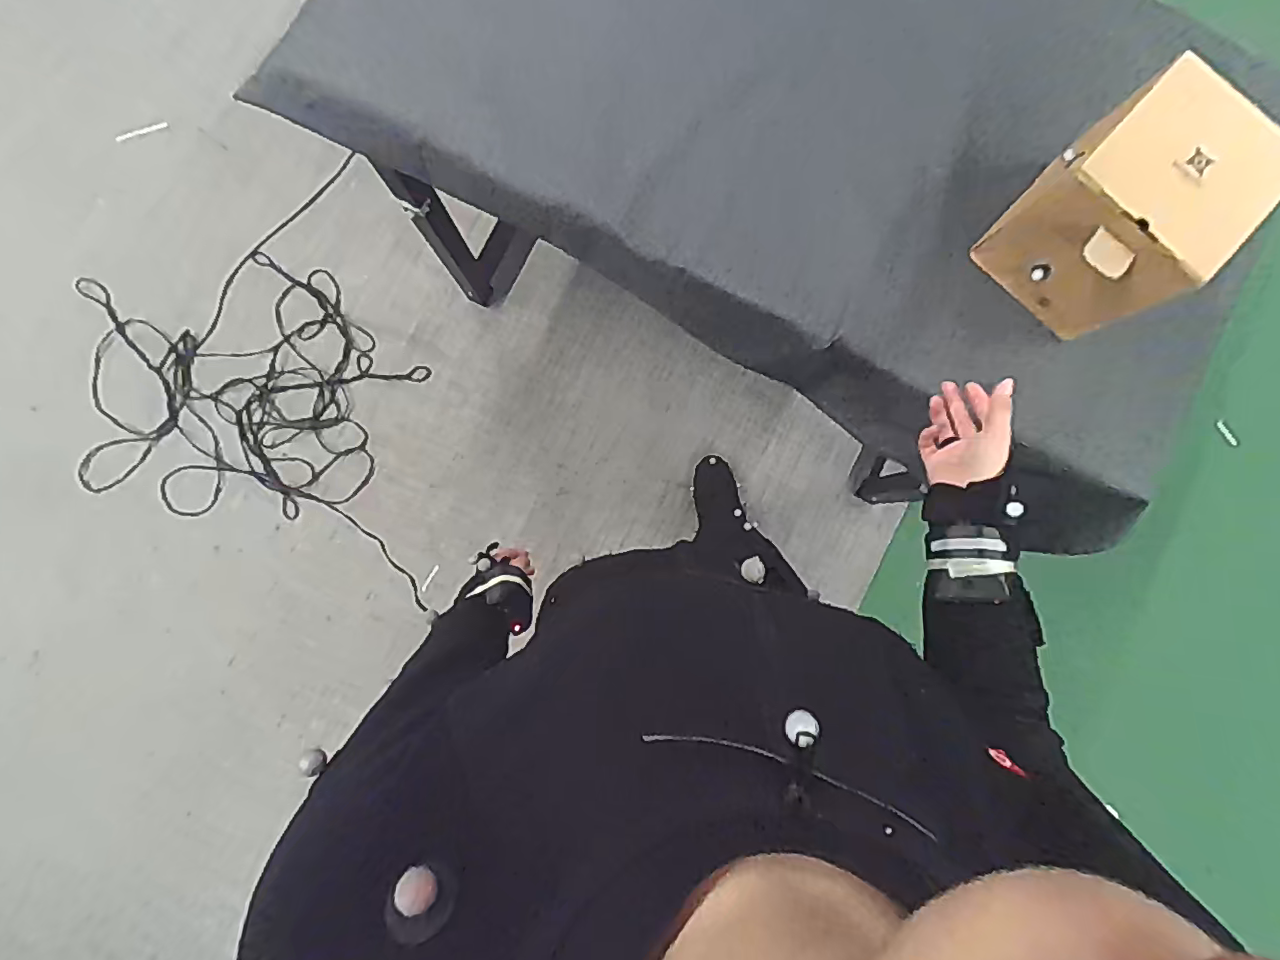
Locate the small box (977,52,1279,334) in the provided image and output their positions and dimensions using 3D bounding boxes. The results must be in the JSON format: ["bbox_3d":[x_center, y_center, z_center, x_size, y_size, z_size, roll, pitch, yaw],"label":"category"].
[{"bbox_3d":[0.529,-0.297,0.599,0.168,0.176,0.179,43,86,1],"label":"small box"}]
